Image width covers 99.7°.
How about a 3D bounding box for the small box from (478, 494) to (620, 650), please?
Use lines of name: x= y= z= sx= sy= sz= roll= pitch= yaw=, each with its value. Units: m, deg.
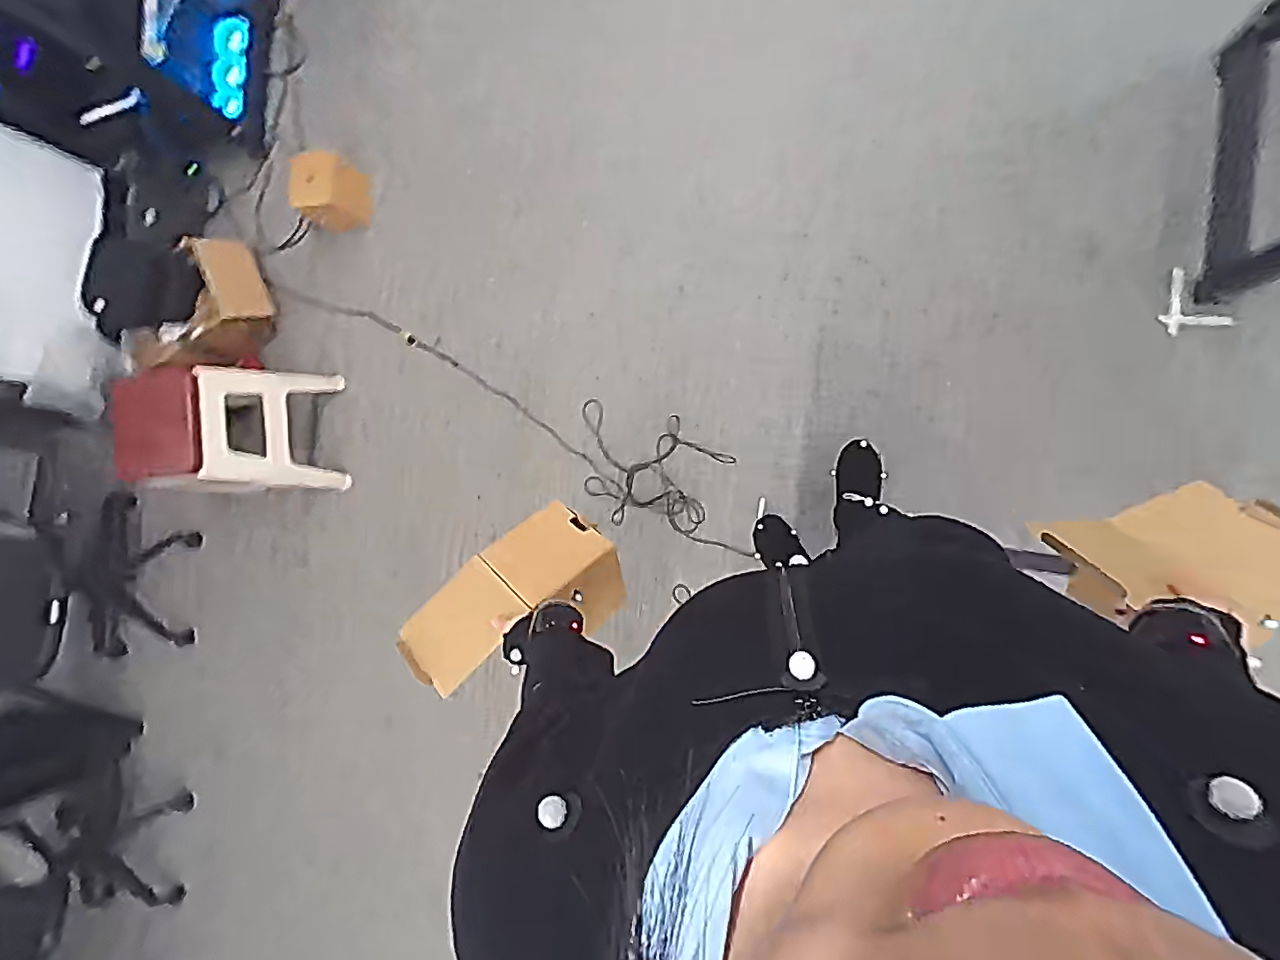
small box: x=-0.152 y=0.165 z=0.960 sx=0.179 sy=0.176 sz=0.168 roll=-35 pitch=51 yaw=-27
